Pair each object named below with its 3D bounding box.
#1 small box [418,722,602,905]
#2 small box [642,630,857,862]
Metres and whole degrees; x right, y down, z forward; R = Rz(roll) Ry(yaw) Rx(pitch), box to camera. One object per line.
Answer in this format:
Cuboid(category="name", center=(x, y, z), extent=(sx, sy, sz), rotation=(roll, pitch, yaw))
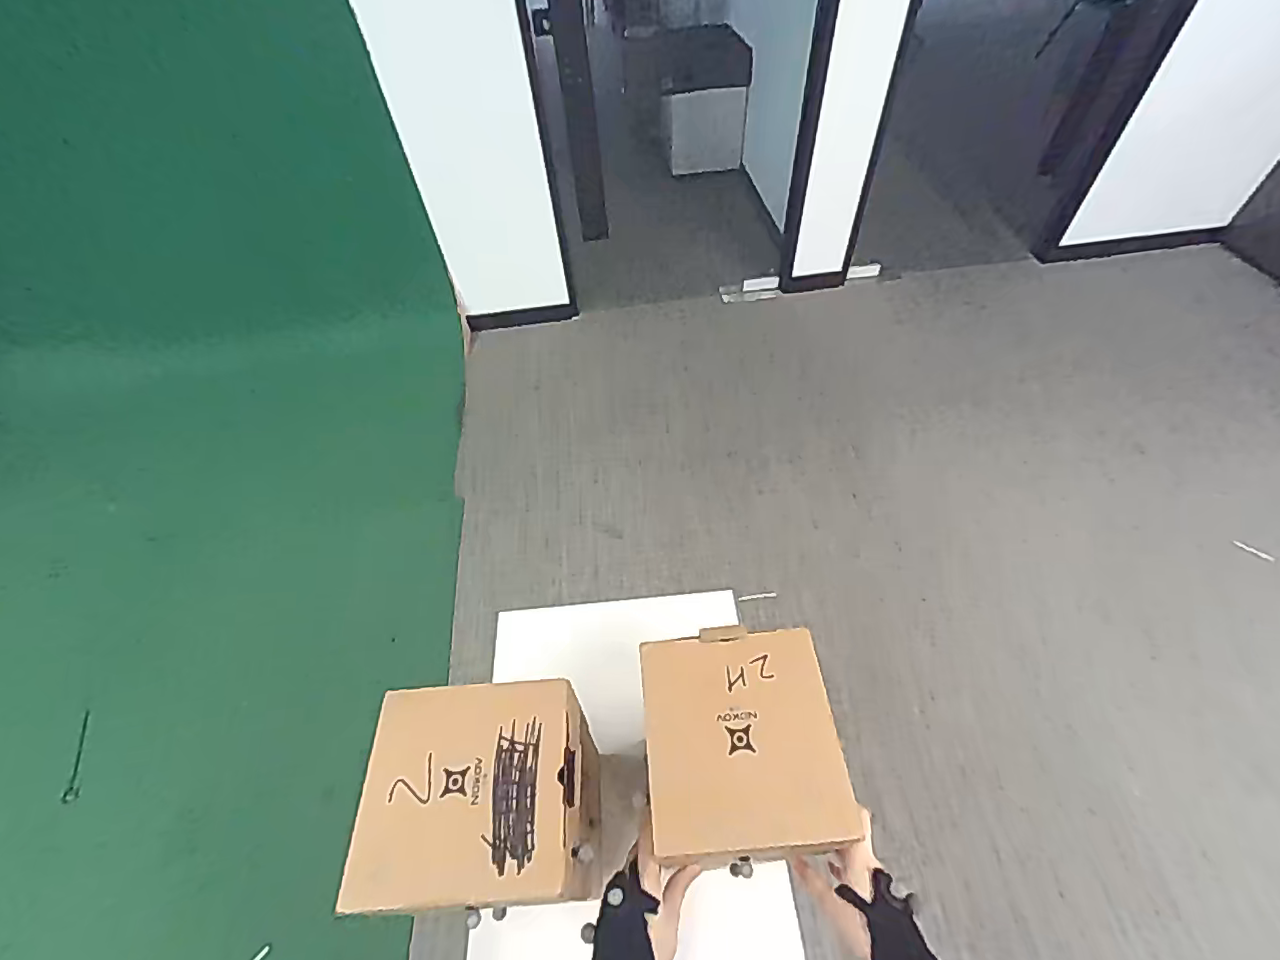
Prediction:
Cuboid(category="small box", center=(-0.141, 0.407, 0.657), extent=(0.179, 0.176, 0.168), rotation=(-3, 52, -2))
Cuboid(category="small box", center=(0.093, 0.270, 0.539), extent=(0.168, 0.176, 0.179), rotation=(-5, 51, 1))
